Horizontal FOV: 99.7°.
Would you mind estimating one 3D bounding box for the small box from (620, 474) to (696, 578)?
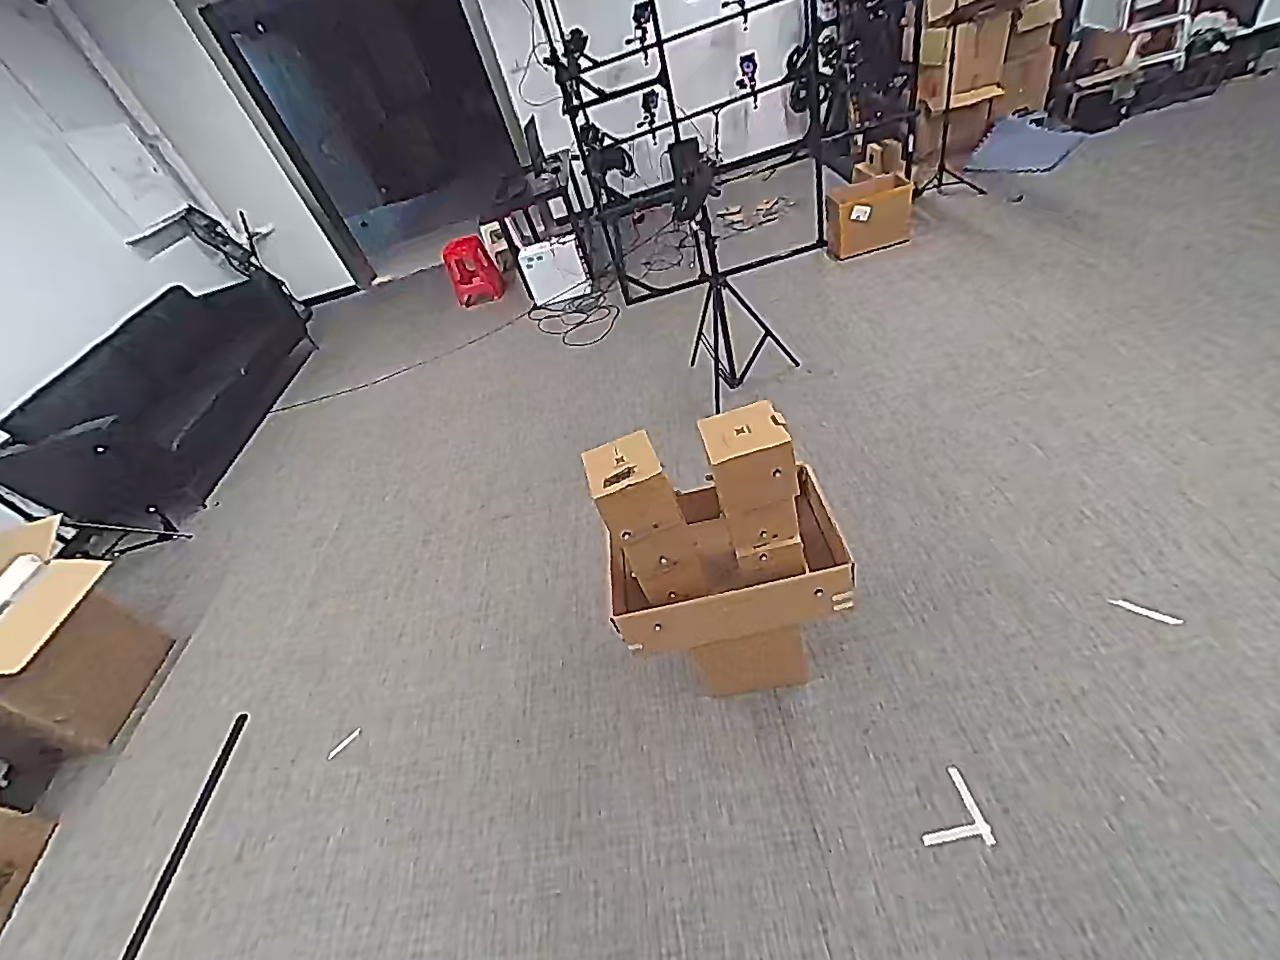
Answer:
[{"bbox_3d":[0.033,0.120,1.391,0.168,0.176,0.179,-20,42,2],"label":"small box"}]

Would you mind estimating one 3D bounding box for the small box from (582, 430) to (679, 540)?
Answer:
[{"bbox_3d":[-0.021,0.018,1.272,0.168,0.176,0.179,-22,41,0],"label":"small box"}]

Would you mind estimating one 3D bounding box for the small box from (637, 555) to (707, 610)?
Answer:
[{"bbox_3d":[0.075,0.230,1.506,0.168,0.176,0.179,-21,41,2],"label":"small box"}]

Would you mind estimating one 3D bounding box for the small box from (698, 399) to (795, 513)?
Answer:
[{"bbox_3d":[0.246,-0.052,1.235,0.179,0.176,0.168,-17,41,6],"label":"small box"}]
